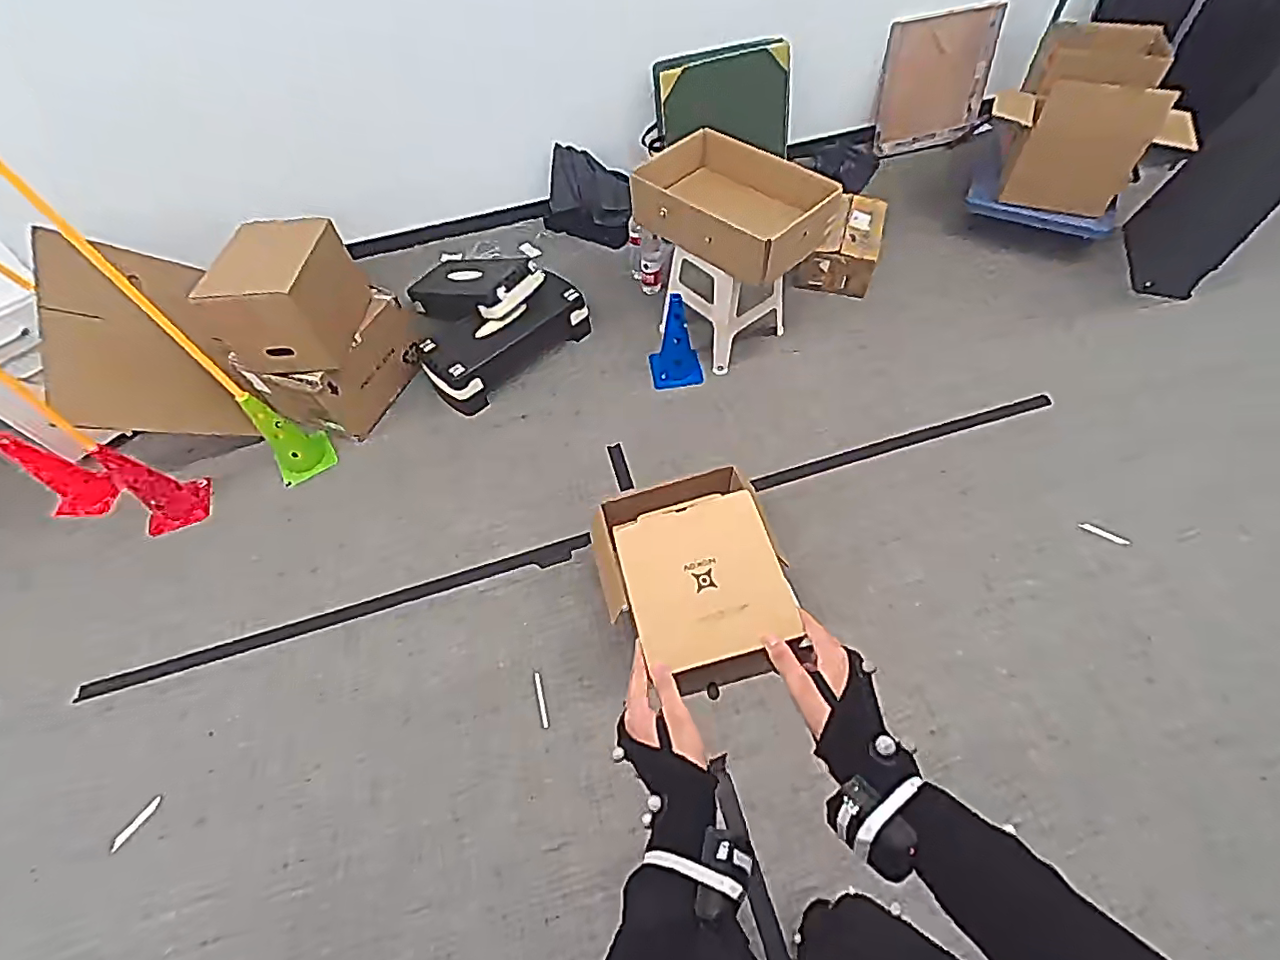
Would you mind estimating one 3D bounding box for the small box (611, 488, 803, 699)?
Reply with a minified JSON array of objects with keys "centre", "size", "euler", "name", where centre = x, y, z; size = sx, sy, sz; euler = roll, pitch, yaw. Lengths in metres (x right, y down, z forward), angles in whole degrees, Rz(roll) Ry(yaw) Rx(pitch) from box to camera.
[{"centre":[0.071,0.139,0.640],"size":[0.168,0.176,0.179],"euler":[-15,60,-2],"name":"small box"}]
